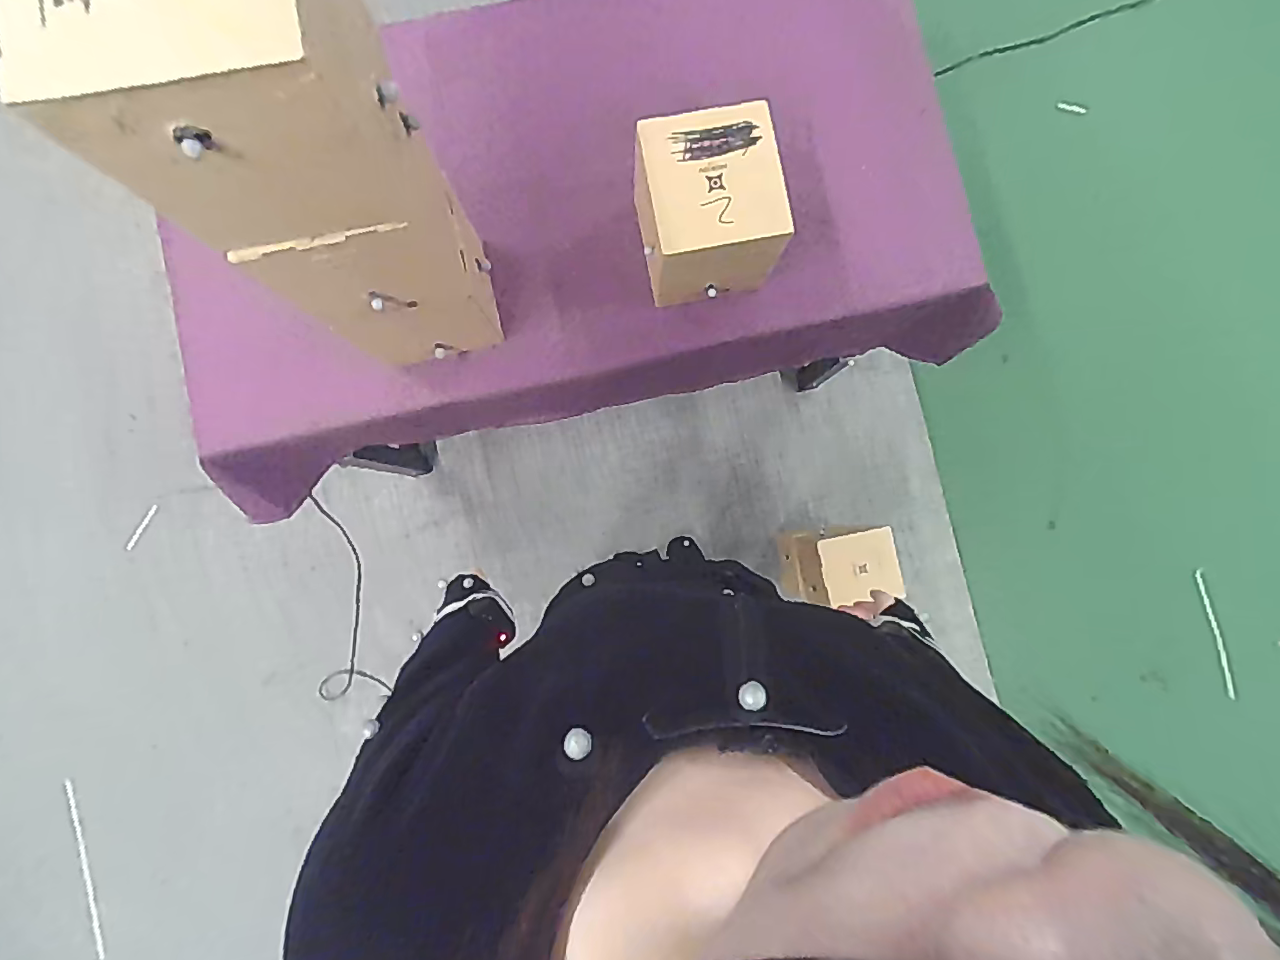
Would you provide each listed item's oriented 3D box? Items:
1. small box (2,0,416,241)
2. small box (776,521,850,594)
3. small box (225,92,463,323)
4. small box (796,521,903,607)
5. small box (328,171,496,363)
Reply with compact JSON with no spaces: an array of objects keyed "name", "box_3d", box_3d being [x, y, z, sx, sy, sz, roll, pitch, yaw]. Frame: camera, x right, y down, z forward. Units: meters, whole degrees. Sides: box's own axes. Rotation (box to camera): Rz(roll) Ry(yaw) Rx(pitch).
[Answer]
[{"name":"small box","box_3d":[-0.294,-0.302,0.401,0.179,0.176,0.168,-11,86,-3]},{"name":"small box","box_3d":[0.472,0.203,1.447,0.179,0.176,0.168,-8,87,-3]},{"name":"small box","box_3d":[-0.302,-0.289,0.564,0.168,0.176,0.179,-13,87,-1]},{"name":"small box","box_3d":[0.485,0.193,1.285,0.179,0.176,0.168,-11,88,-3]},{"name":"small box","box_3d":[-0.305,-0.273,0.729,0.179,0.176,0.168,-14,86,-3]}]
